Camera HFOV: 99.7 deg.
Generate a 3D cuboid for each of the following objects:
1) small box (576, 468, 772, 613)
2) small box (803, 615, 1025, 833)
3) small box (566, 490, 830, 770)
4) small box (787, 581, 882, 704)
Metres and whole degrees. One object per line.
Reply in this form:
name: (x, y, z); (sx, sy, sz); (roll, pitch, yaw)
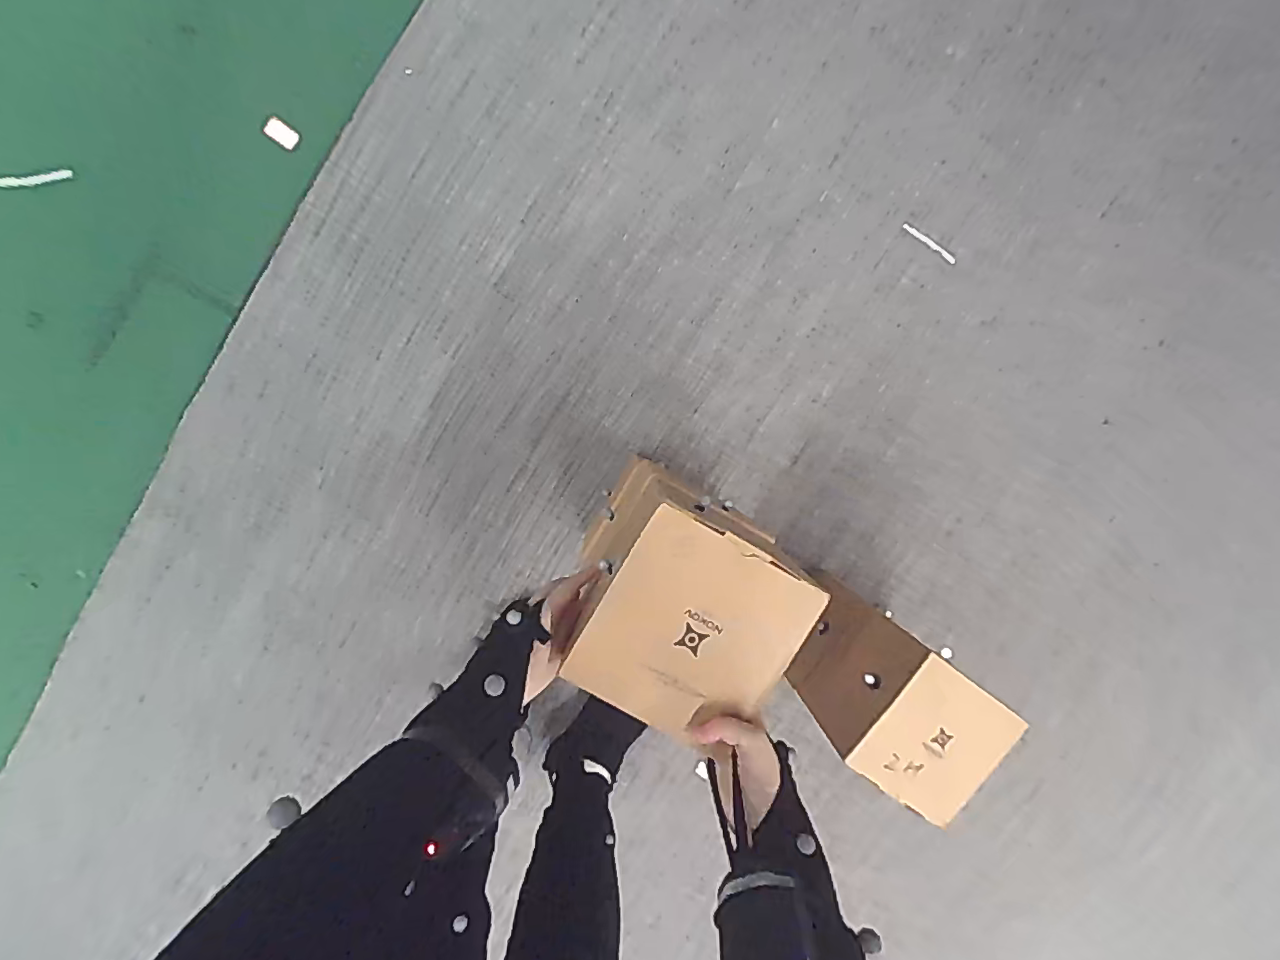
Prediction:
small box: (0.037, 0.102, 0.690); (0.168, 0.176, 0.179); (29, 95, -6)
small box: (0.355, 0.316, 0.739); (0.168, 0.176, 0.179); (36, 94, -7)
small box: (0.046, 0.126, 0.529); (0.168, 0.176, 0.179); (30, 96, -4)
small box: (0.340, 0.297, 0.902); (0.168, 0.176, 0.179); (38, 94, -8)
